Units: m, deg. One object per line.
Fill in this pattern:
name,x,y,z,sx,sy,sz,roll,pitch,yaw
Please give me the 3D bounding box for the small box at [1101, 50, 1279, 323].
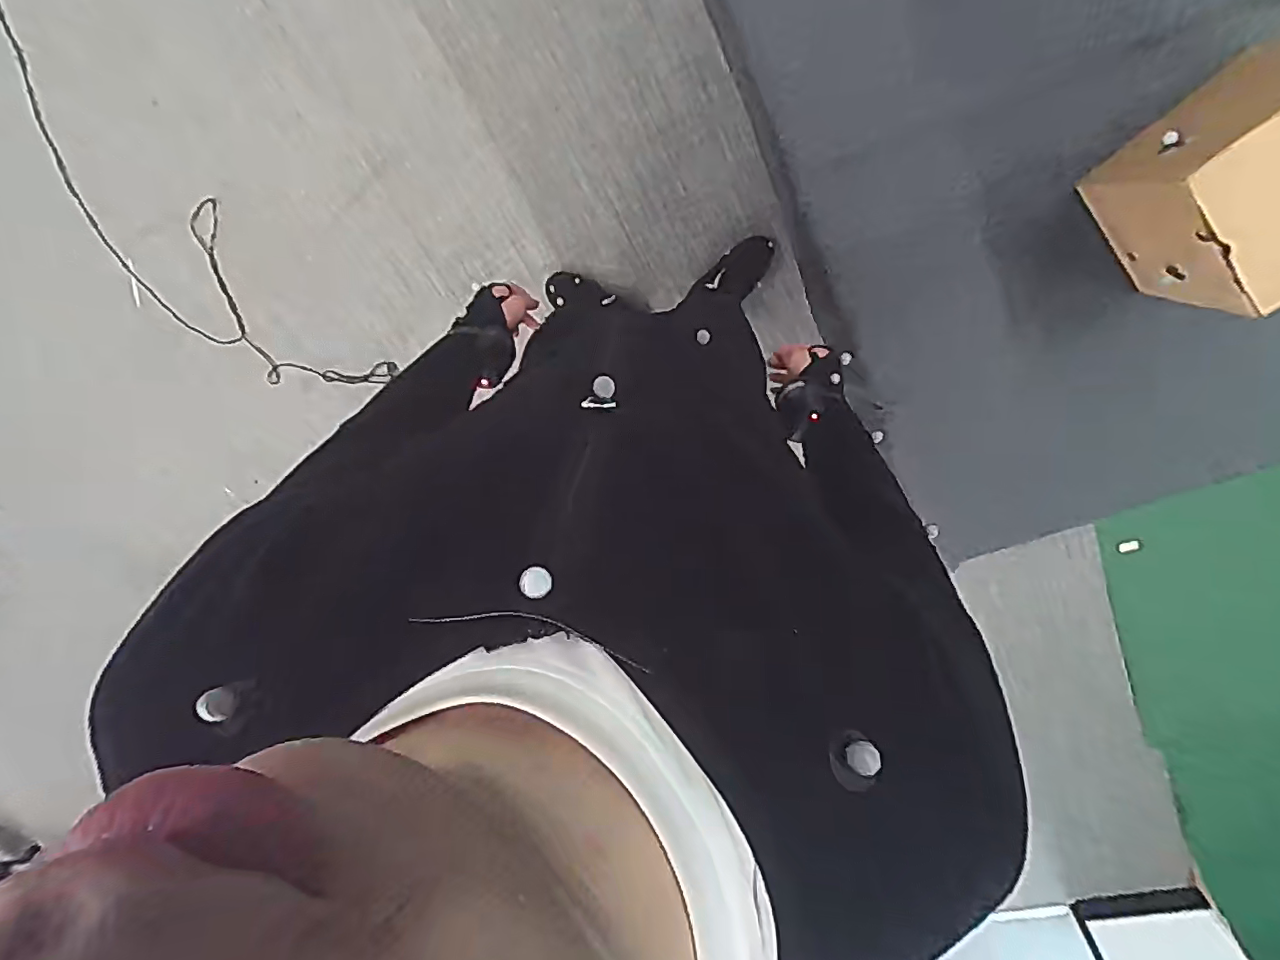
small box,0.602,-0.286,0.522,0.179,0.176,0.168,-37,109,23
